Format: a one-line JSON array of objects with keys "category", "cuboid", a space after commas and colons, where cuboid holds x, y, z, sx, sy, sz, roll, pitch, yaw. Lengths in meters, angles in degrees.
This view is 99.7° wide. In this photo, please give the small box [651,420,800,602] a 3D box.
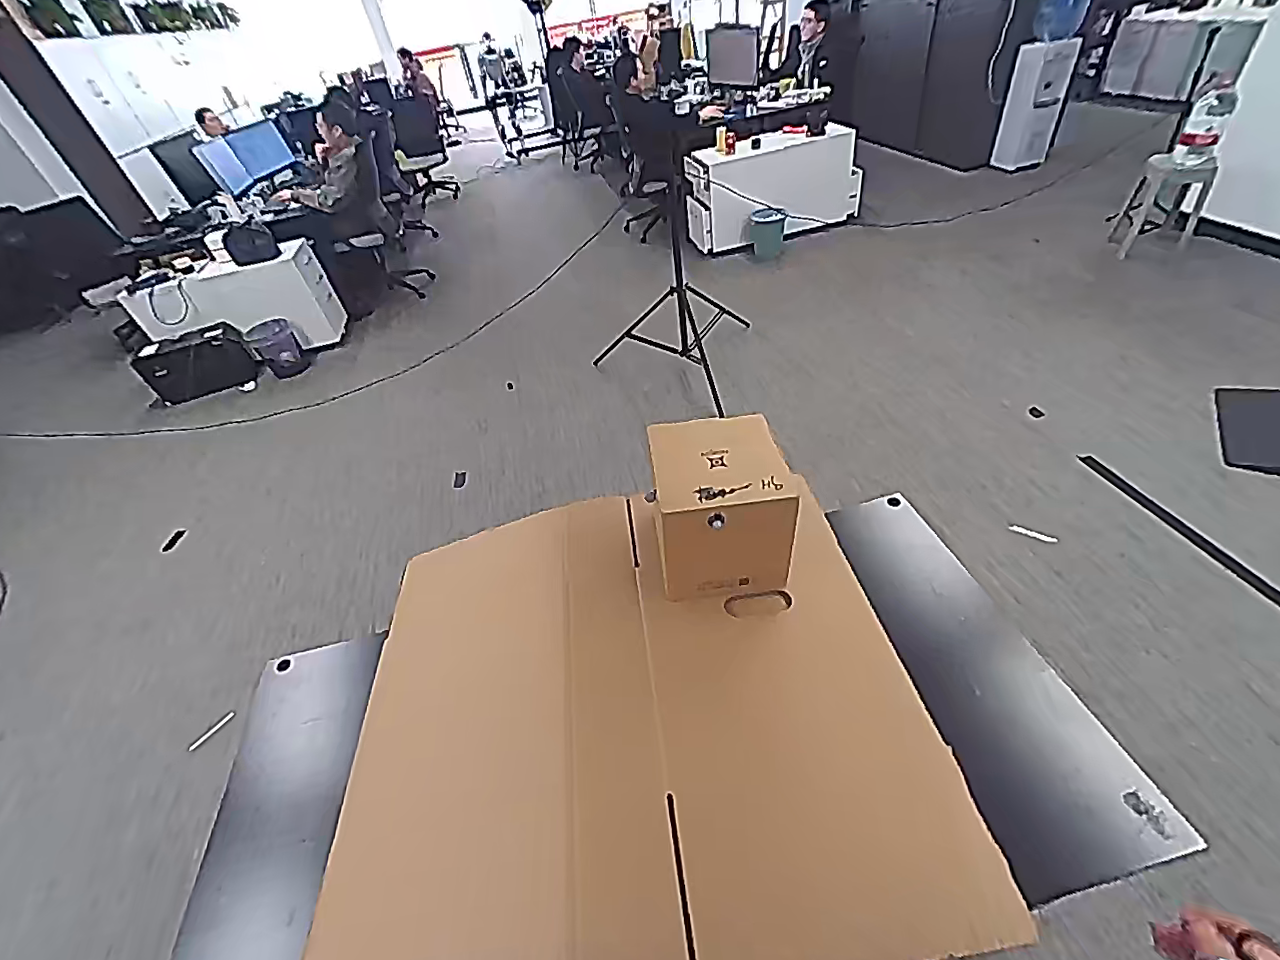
[{"category": "small box", "cuboid": [0.106, 0.041, 0.742, 0.168, 0.176, 0.179, -7, 40, -1]}]
